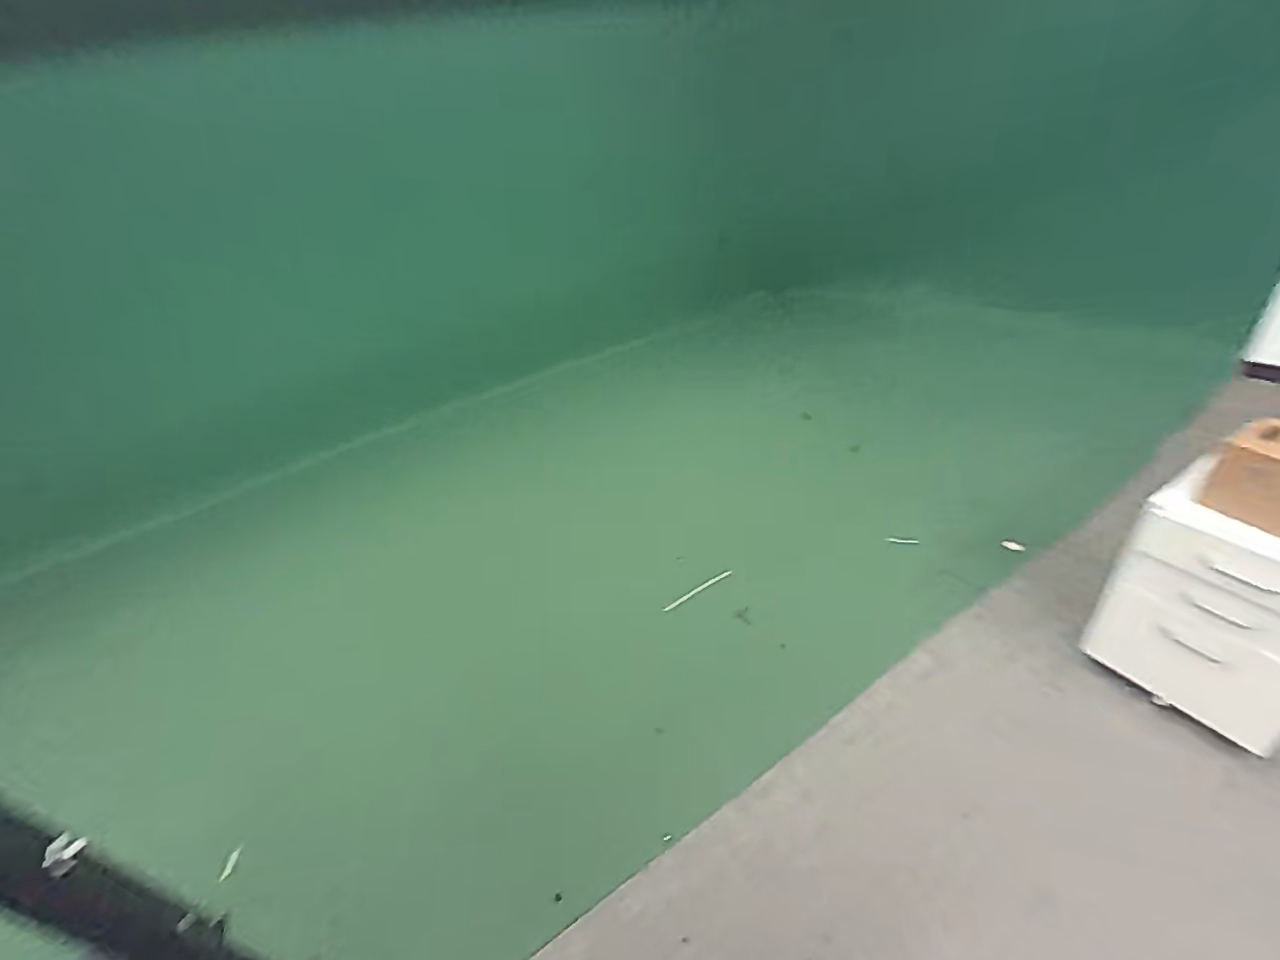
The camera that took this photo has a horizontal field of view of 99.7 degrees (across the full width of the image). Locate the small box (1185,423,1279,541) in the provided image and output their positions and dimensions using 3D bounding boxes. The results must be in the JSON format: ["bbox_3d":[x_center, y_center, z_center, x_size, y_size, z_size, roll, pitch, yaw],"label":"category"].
[{"bbox_3d":[1.353,0.004,1.168,0.168,0.176,0.179,-21,36,-16],"label":"small box"}]
